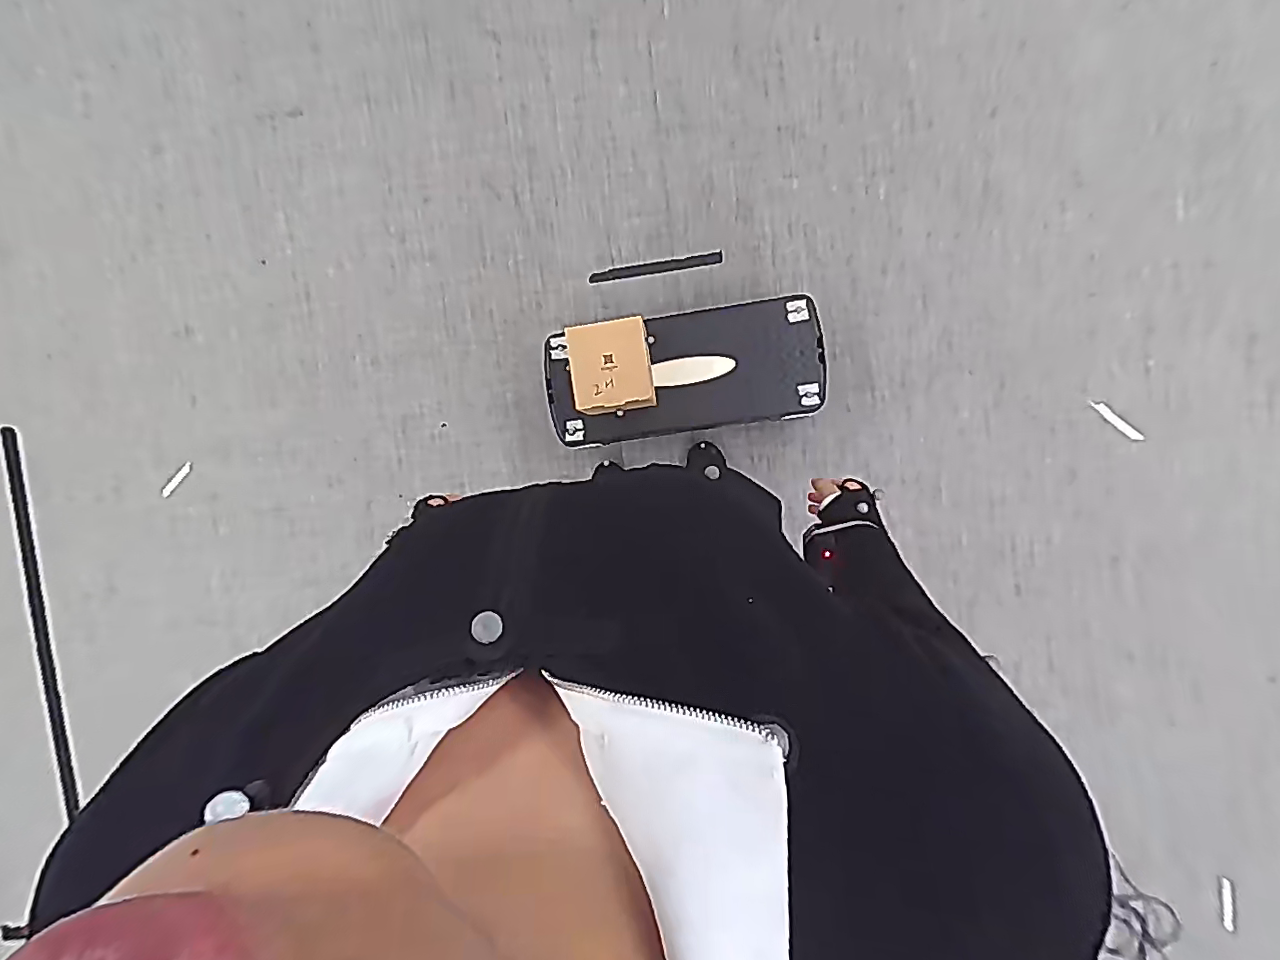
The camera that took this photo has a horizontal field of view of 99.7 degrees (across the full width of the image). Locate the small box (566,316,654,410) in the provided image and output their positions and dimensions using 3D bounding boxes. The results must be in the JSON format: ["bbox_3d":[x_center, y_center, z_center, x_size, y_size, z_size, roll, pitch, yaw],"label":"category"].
[{"bbox_3d":[-0.062,-0.248,1.204,0.168,0.176,0.179,-8,93,5],"label":"small box"}]
